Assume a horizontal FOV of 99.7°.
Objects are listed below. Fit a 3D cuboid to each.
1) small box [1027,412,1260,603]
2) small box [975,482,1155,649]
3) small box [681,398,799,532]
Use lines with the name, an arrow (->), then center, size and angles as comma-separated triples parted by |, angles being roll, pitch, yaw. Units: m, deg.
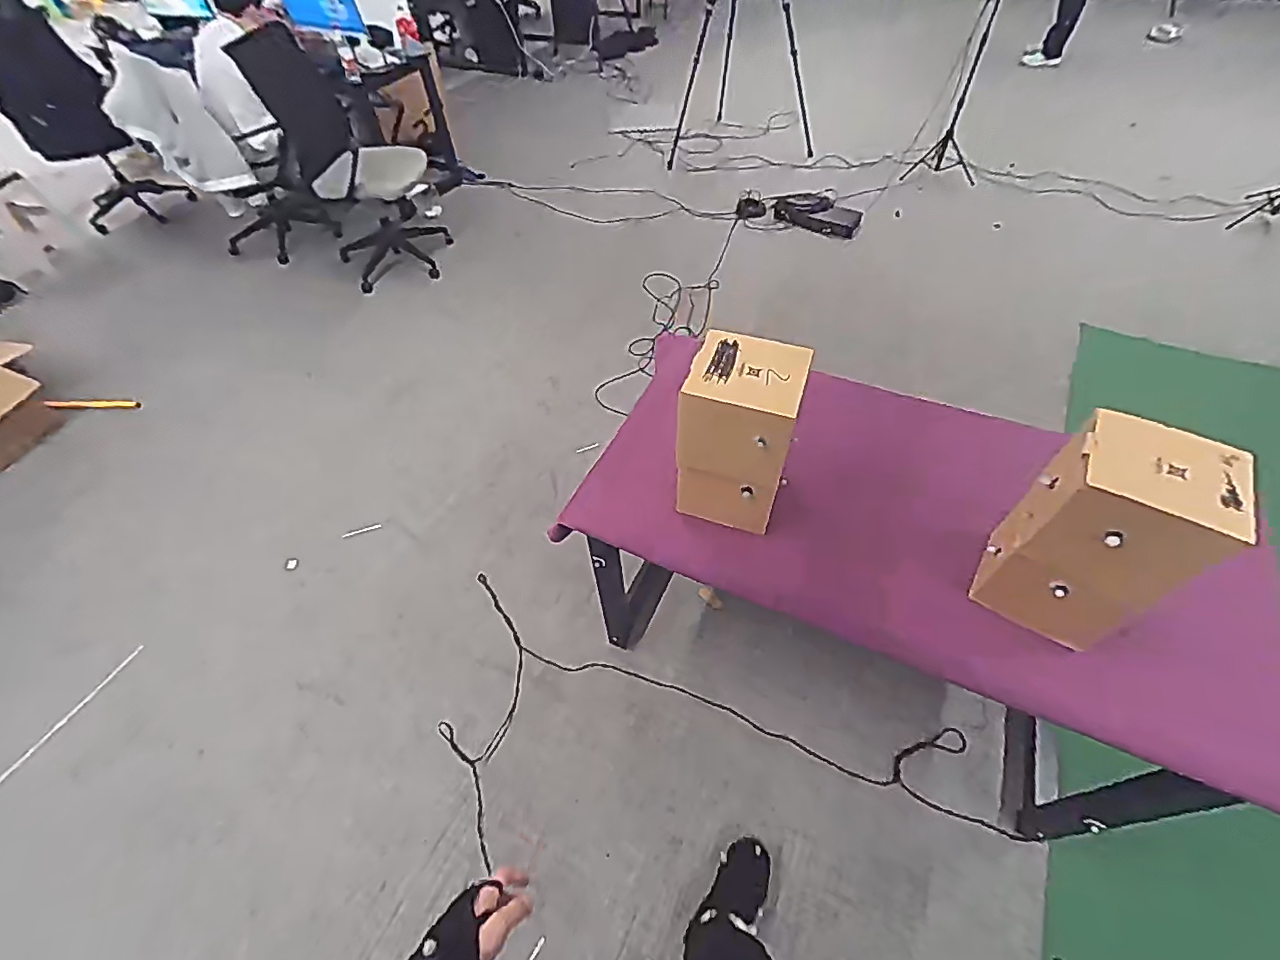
small box -> 0.675, 0.041, 0.744 | 0.179, 0.176, 0.168 | 26, 58, 23
small box -> 0.681, 0.142, 0.872 | 0.179, 0.176, 0.168 | 29, 58, 23
small box -> 0.185, -0.024, 1.024 | 0.179, 0.176, 0.168 | 15, 53, 15
